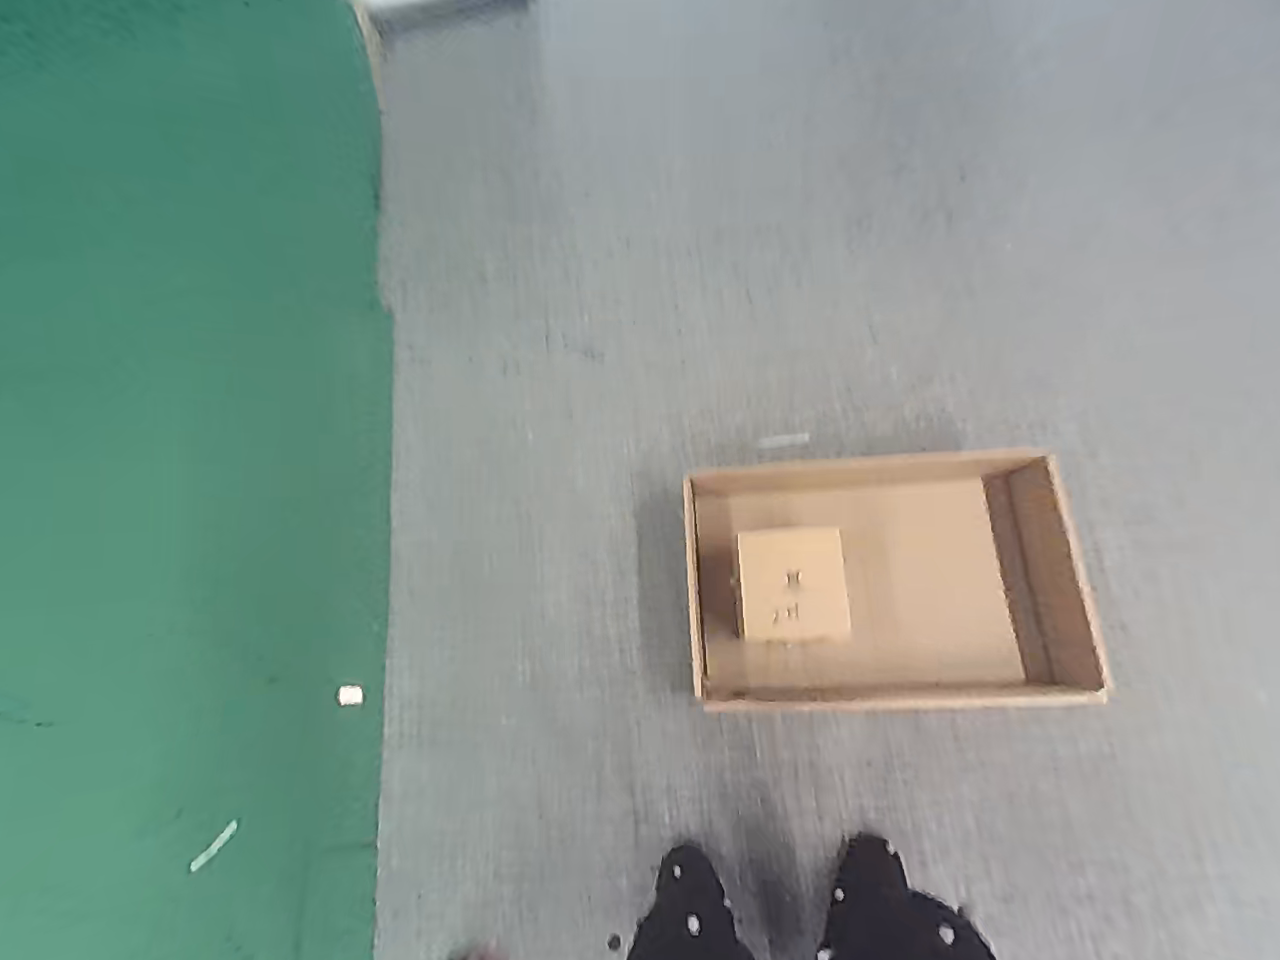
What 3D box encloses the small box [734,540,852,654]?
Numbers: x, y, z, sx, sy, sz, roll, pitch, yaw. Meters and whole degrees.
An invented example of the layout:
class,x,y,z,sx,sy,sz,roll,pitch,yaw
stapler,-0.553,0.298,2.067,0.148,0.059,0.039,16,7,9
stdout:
class,x,y,z,sx,sy,sz,roll,pitch,yaw
small box,0.253,0.207,0.935,0.168,0.176,0.179,-3,72,7
